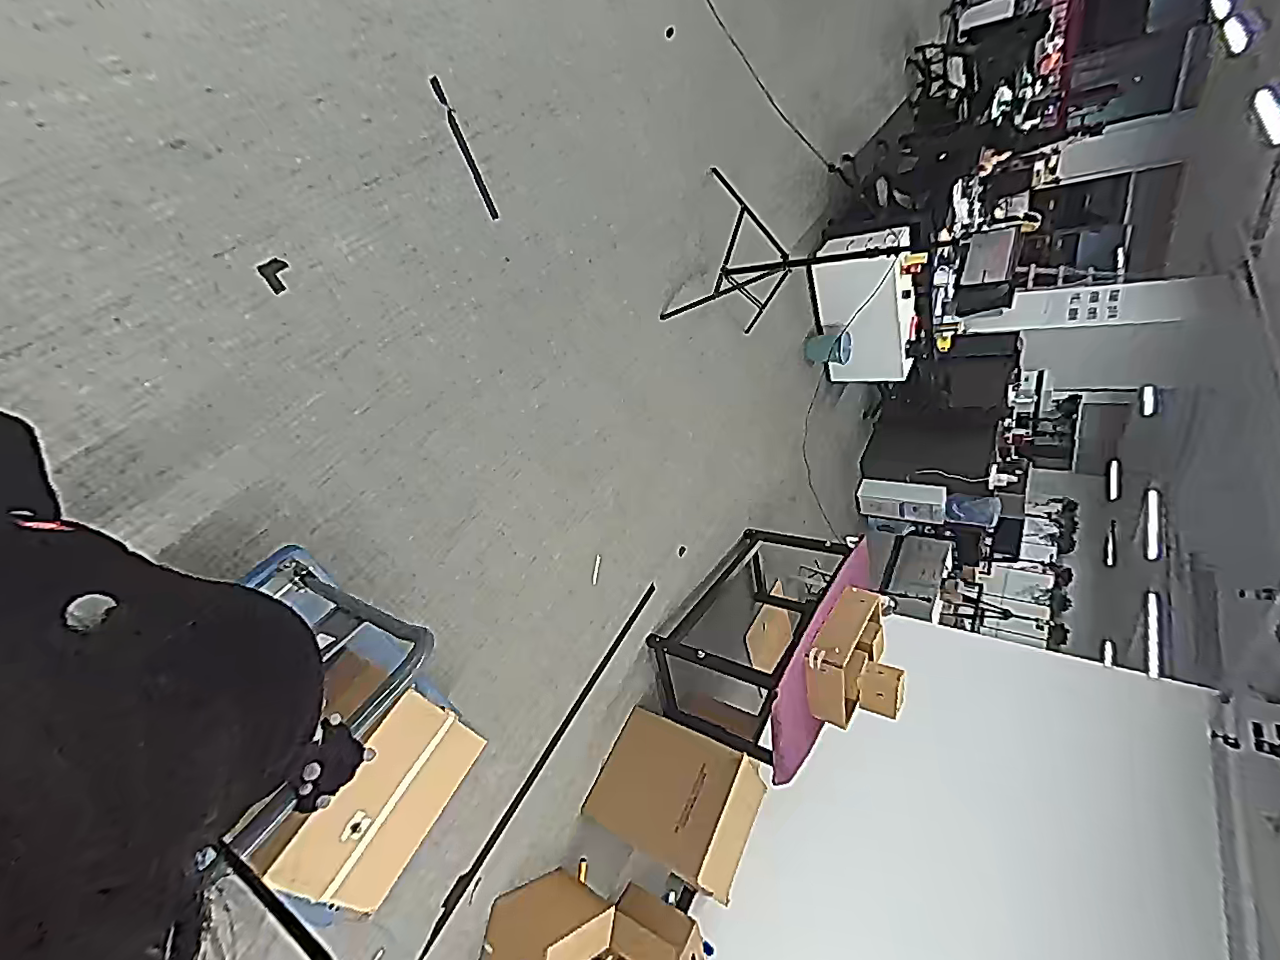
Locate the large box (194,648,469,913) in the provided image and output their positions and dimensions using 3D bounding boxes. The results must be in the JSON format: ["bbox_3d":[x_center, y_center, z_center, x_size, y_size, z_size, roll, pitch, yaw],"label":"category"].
[{"bbox_3d":[-0.696,0.676,1.262,0.408,0.320,0.320,-56,135,-30],"label":"large box"}]
